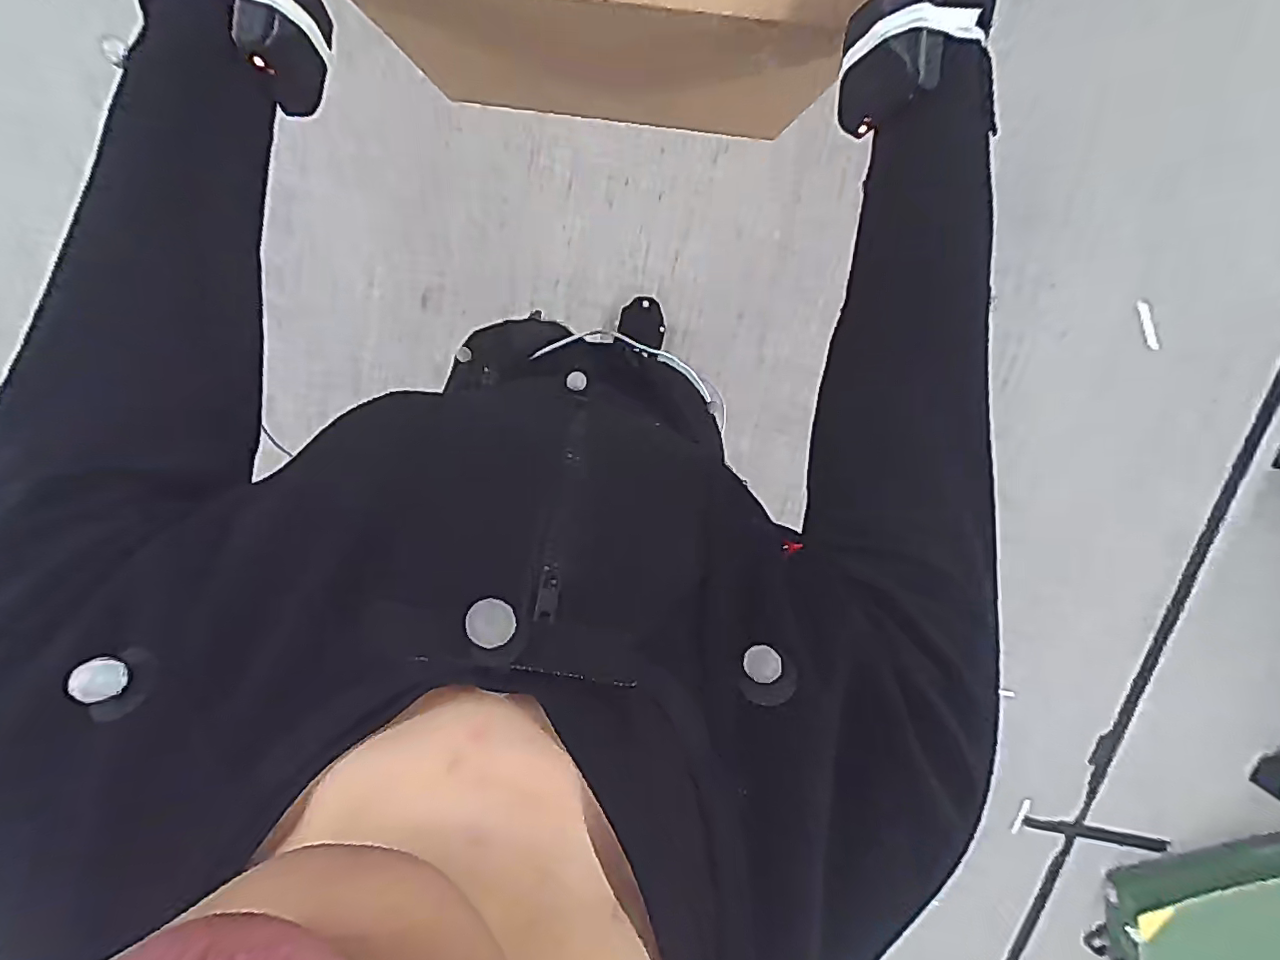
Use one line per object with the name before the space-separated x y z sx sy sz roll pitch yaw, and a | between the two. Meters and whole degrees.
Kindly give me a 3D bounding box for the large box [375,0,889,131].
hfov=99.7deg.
large box | -0.012 -0.540 0.474 0.408 0.320 0.320 4 110 -4
